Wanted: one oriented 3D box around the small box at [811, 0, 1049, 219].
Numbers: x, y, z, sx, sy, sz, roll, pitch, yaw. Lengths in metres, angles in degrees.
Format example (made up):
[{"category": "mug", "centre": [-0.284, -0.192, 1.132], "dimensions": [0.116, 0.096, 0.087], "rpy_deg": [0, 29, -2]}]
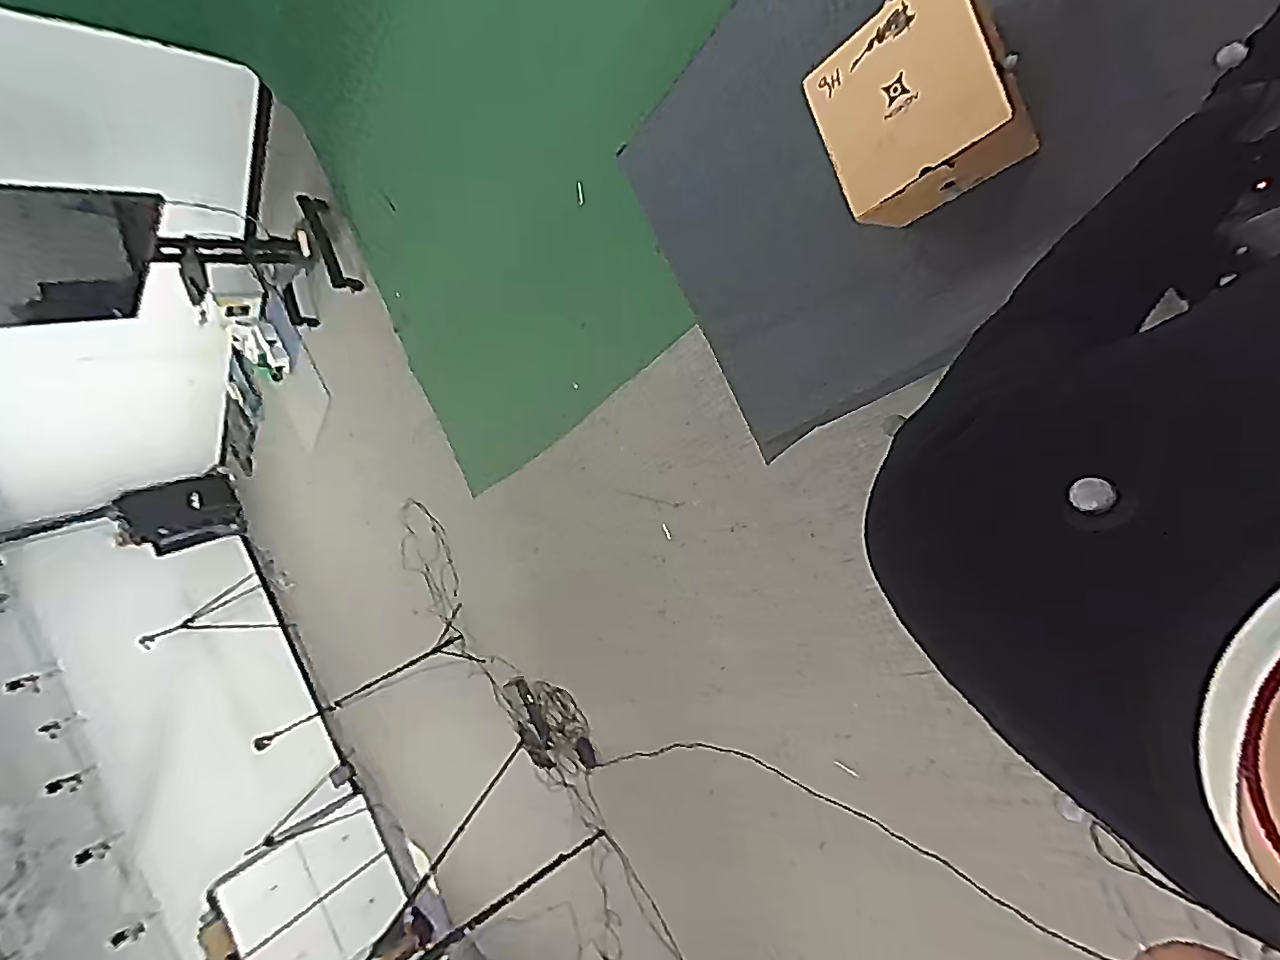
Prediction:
[{"category": "small box", "centre": [0.339, -0.430, 0.628], "dimensions": [0.168, 0.176, 0.179], "rpy_deg": [-25, 87, 48]}]
